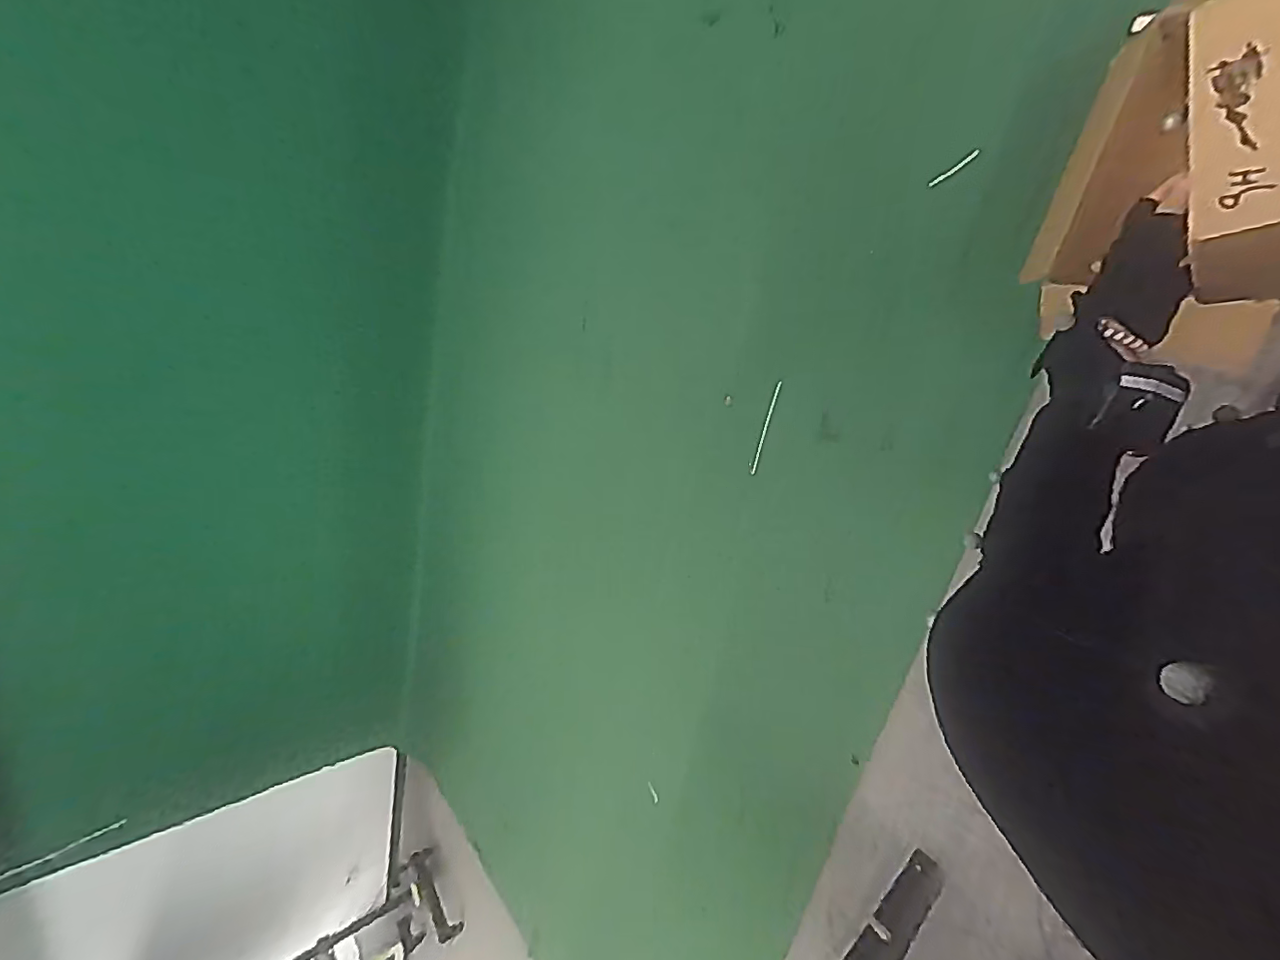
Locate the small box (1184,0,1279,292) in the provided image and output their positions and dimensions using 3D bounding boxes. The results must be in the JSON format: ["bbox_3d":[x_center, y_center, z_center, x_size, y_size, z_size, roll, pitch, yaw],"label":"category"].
[{"bbox_3d":[0.501,-0.247,0.370,0.179,0.176,0.168,2,88,46],"label":"small box"}]
